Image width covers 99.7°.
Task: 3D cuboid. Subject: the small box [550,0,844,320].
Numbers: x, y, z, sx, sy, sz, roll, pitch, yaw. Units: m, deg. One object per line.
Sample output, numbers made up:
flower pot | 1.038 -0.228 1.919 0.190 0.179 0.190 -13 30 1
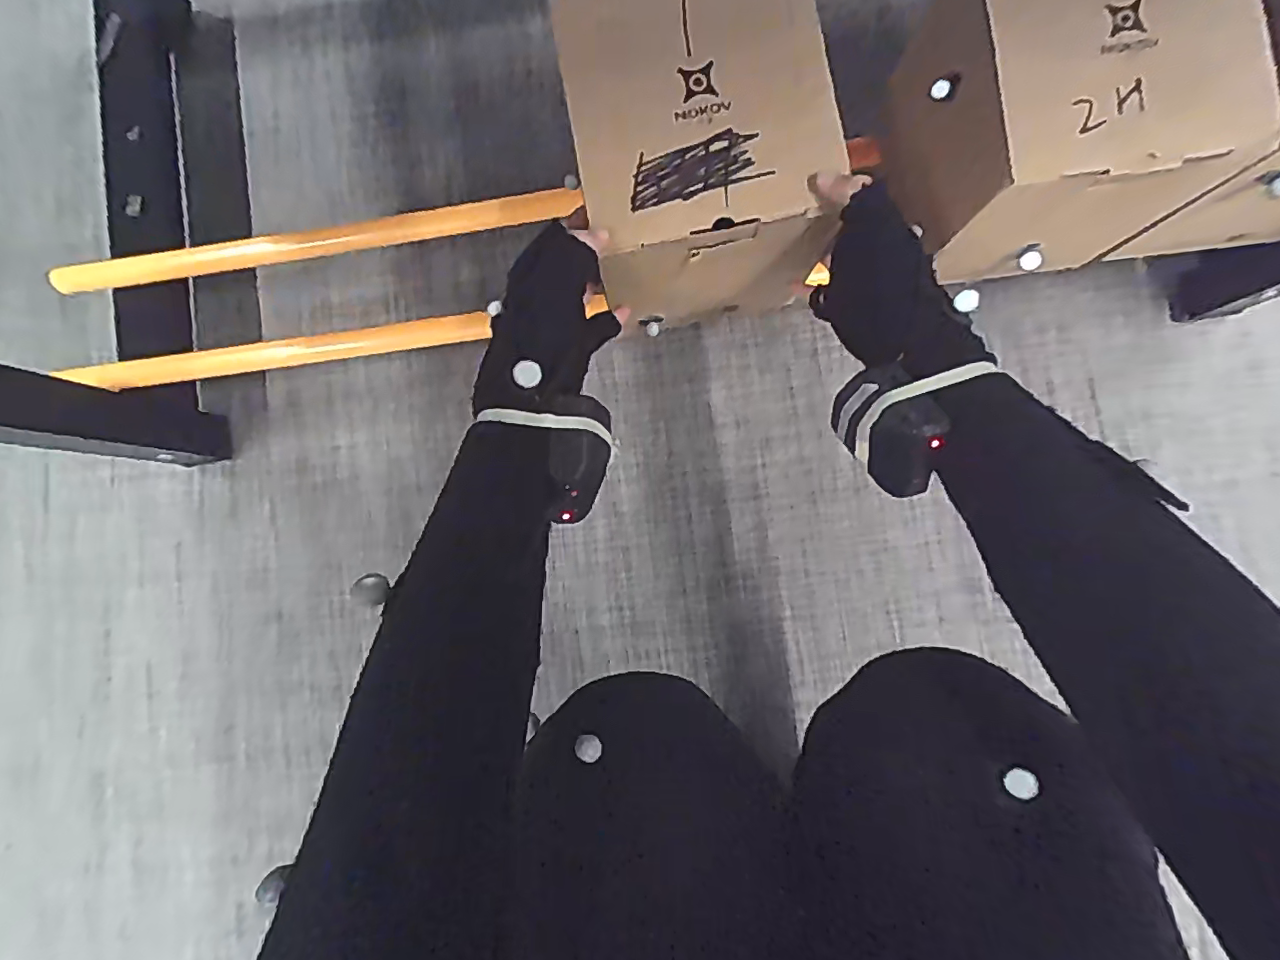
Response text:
small box | 0.039 -0.240 0.425 0.168 0.176 0.179 -10 85 2
